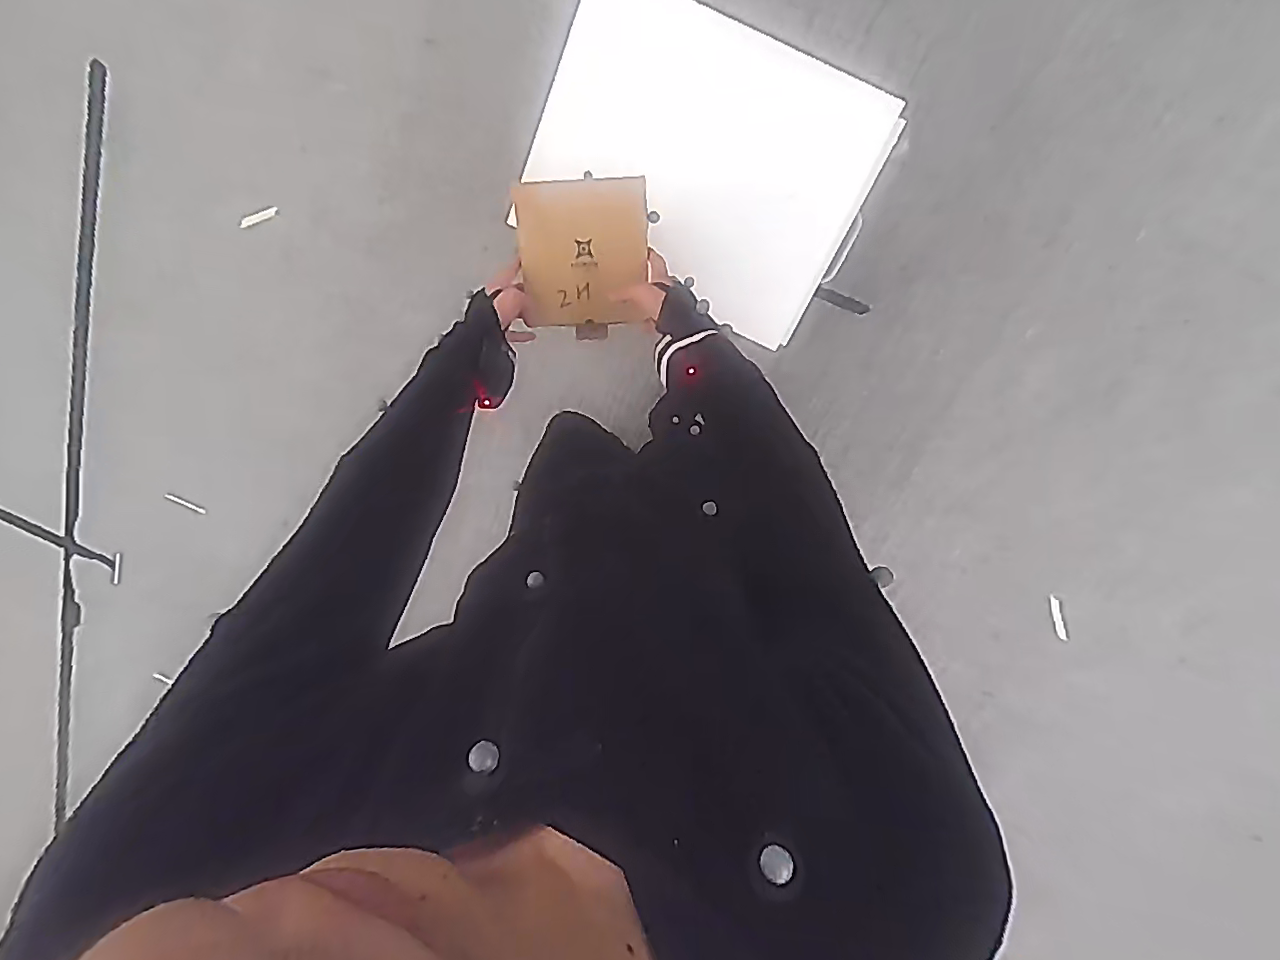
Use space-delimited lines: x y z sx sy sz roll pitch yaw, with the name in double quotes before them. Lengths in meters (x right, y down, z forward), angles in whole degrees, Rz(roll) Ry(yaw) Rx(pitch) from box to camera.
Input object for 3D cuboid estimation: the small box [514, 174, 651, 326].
"small box" -0.069 -0.321 0.761 0.168 0.176 0.179 -2 116 2
